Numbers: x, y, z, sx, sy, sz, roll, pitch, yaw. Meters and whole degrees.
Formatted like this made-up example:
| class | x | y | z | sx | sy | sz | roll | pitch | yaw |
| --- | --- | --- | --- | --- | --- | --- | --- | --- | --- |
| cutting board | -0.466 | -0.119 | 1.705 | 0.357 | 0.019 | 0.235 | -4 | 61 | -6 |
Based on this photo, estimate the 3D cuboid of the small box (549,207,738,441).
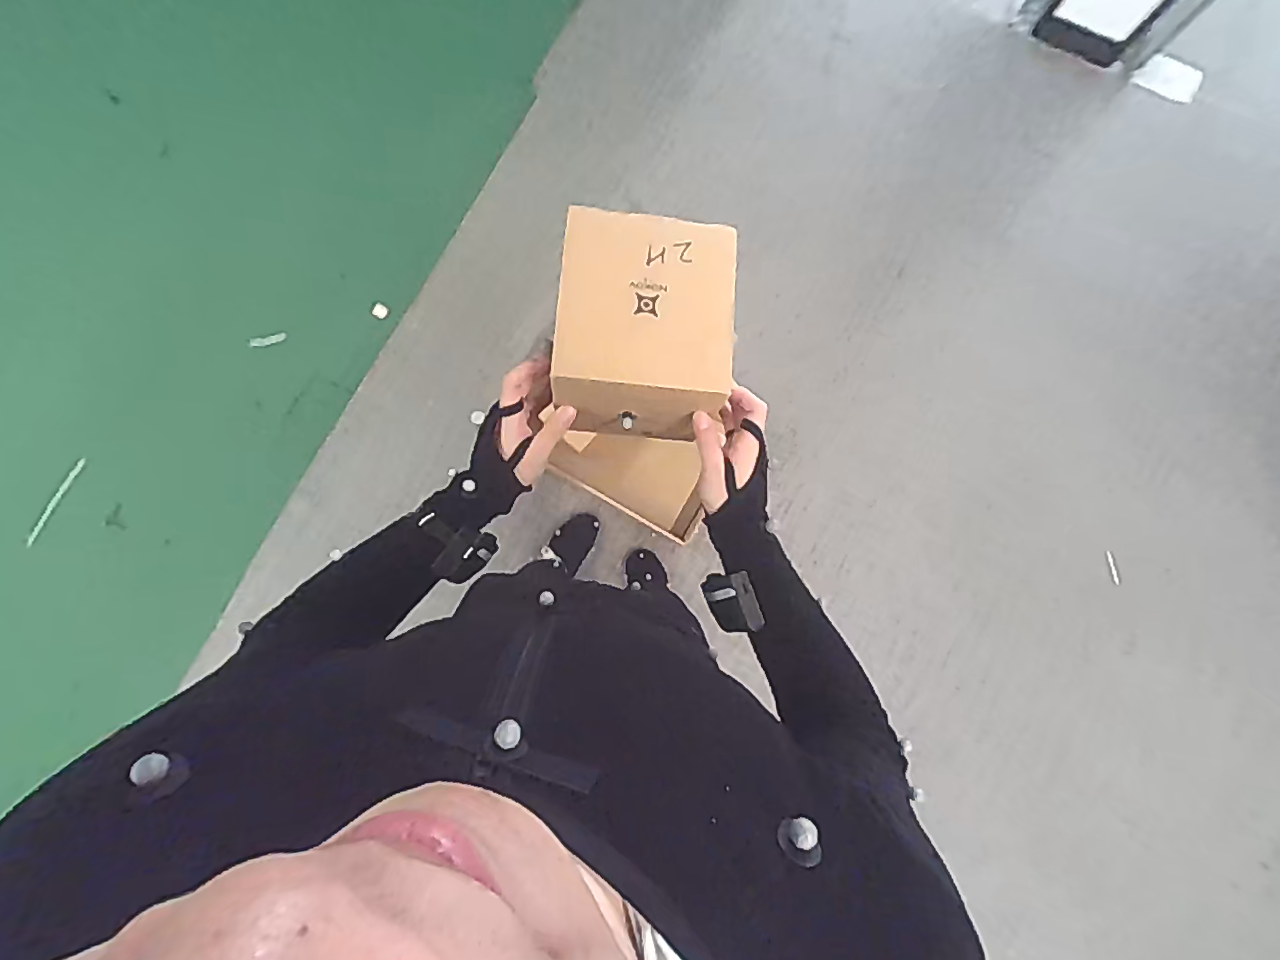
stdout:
| class | x | y | z | sx | sy | sz | roll | pitch | yaw |
| --- | --- | --- | --- | --- | --- | --- | --- | --- | --- |
| small box | -0.001 | -0.149 | 0.574 | 0.168 | 0.176 | 0.179 | 5 | 78 | -6 |

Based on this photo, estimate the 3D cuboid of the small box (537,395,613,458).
| class | x | y | z | sx | sy | sz | roll | pitch | yaw |
| --- | --- | --- | --- | --- | --- | --- | --- | --- | --- |
| small box | -0.165 | -0.181 | 1.550 | 0.168 | 0.176 | 0.179 | 41 | 85 | 4 |
